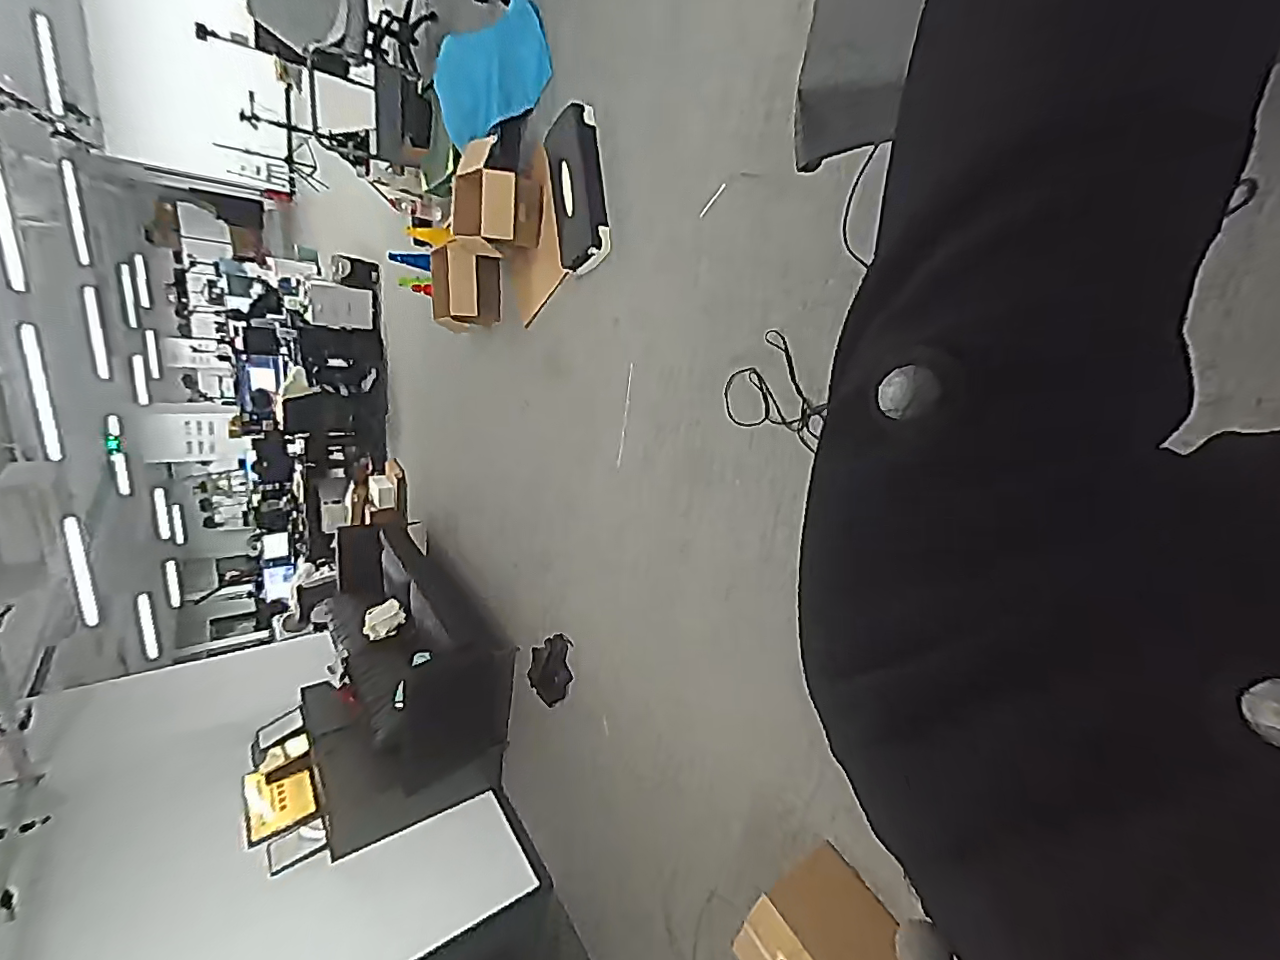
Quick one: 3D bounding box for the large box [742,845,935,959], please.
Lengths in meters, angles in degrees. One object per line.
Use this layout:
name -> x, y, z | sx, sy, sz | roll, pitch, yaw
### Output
large box -> 0.570, 1.377, 1.539 | 0.408, 0.320, 0.320 | 40, 125, 44
